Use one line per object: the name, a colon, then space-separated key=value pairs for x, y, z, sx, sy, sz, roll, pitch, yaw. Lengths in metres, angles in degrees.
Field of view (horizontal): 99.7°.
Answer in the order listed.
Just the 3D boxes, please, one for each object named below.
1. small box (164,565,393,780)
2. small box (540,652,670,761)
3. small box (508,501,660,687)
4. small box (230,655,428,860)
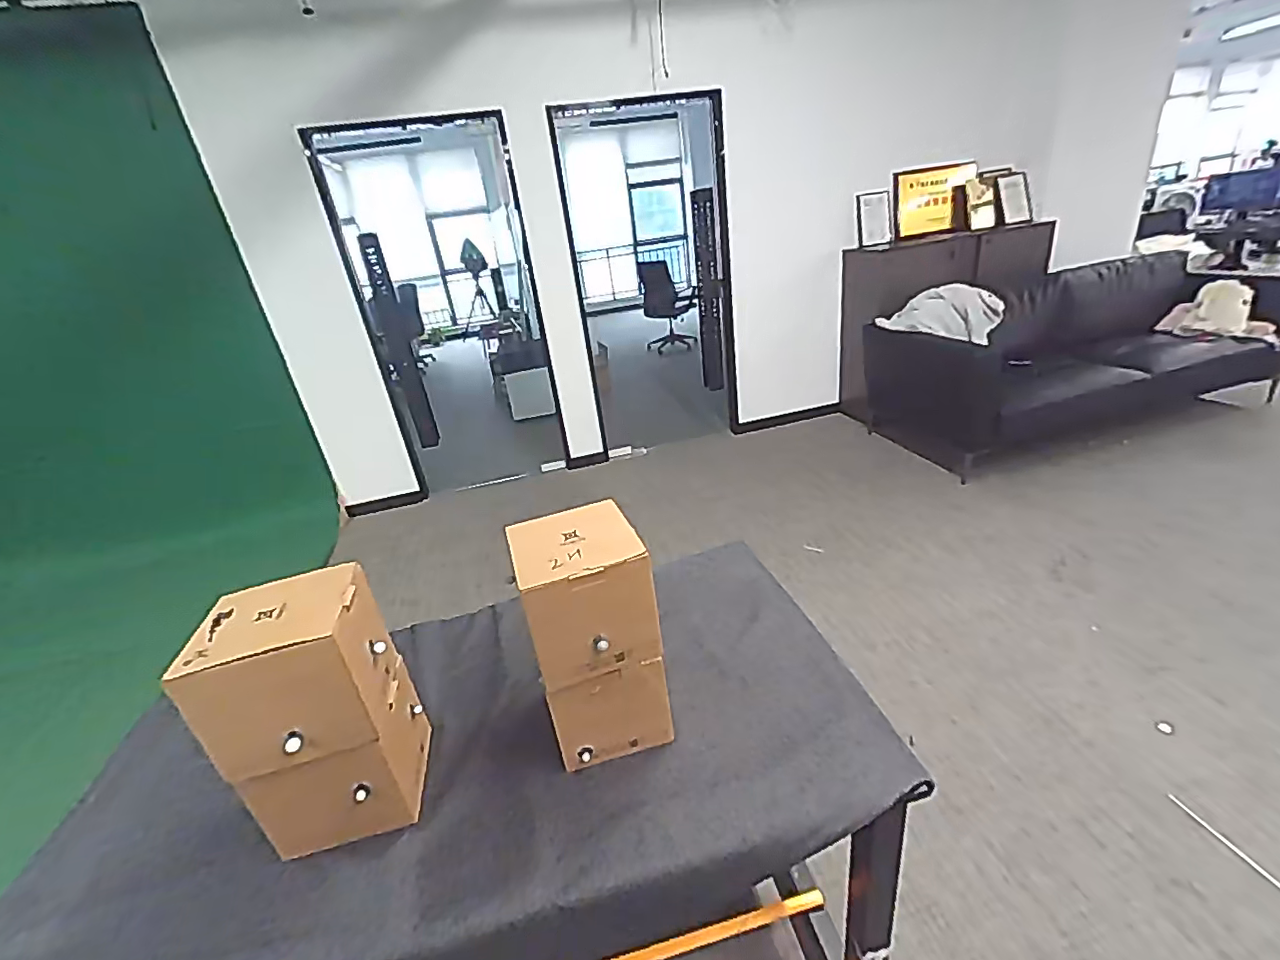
small box: x=-0.435 y=0.239 z=0.692 sx=0.179 sy=0.176 sz=0.168 roll=-13 pitch=23 yaw=-12
small box: x=-0.059 y=0.302 z=0.837 sx=0.168 sy=0.176 sz=0.179 roll=-12 pitch=24 yaw=-10
small box: x=-0.082 y=0.154 z=0.767 sx=0.168 sy=0.176 sz=0.179 roll=-15 pitch=25 yaw=-14
small box: x=-0.416 y=0.385 z=0.764 sx=0.179 sy=0.176 sz=0.168 roll=-13 pitch=24 yaw=-9
